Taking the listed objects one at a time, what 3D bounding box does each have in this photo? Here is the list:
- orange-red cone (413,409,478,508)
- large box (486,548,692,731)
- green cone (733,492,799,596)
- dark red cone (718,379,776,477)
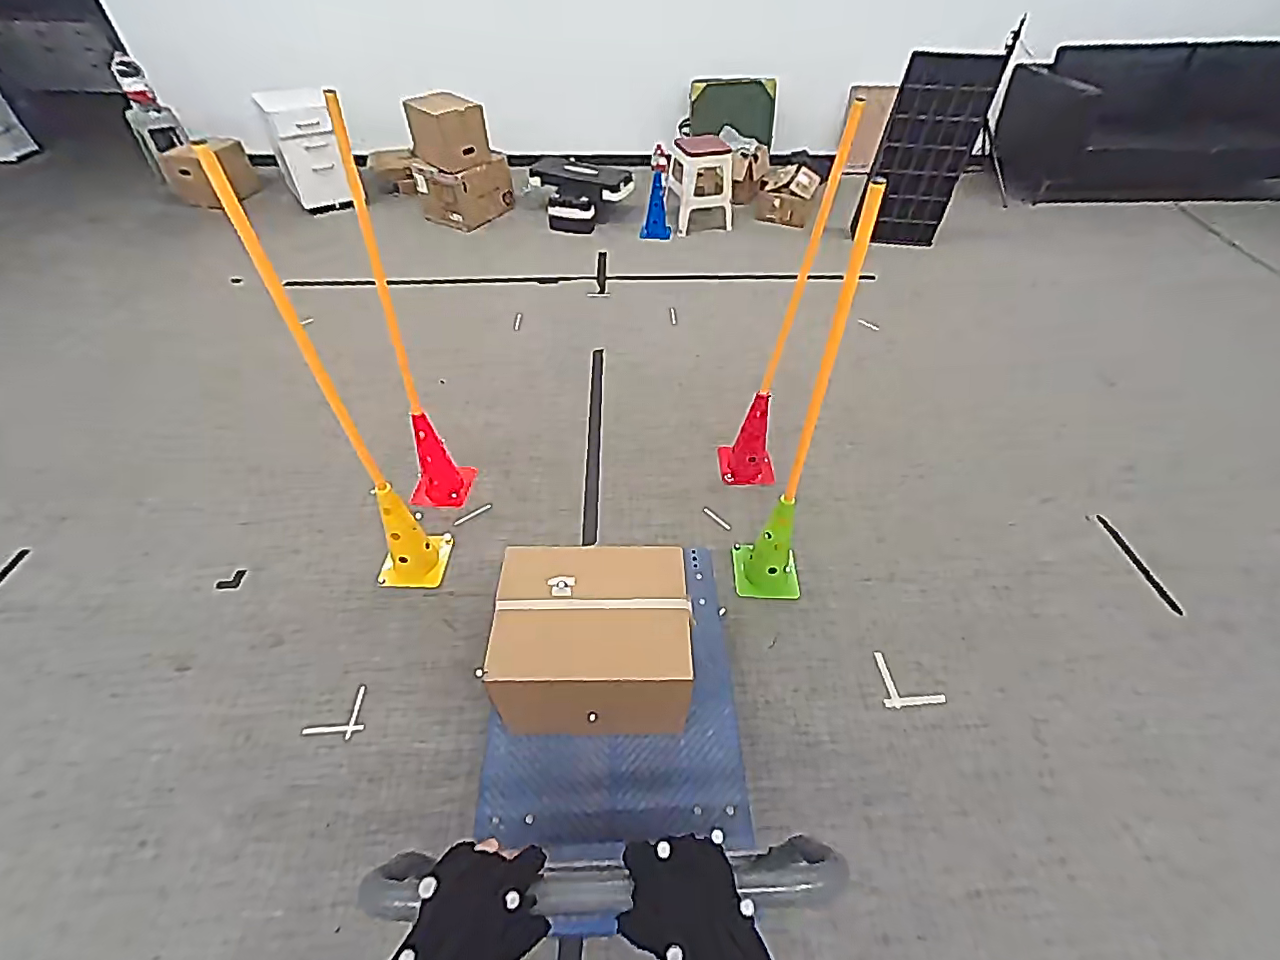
[{"bbox_3d":[-0.710,-0.098,1.873,0.198,0.360,0.199,5,46,3],"label":"orange-red cone"},{"bbox_3d":[-0.099,0.371,1.245,0.408,0.320,0.320,0,47,0],"label":"large box"},{"bbox_3d":[0.413,0.172,1.637,0.202,0.368,0.200,3,47,0],"label":"green cone"},{"bbox_3d":[0.417,-0.194,1.955,0.201,0.394,0.202,0,47,-3],"label":"dark red cone"}]
